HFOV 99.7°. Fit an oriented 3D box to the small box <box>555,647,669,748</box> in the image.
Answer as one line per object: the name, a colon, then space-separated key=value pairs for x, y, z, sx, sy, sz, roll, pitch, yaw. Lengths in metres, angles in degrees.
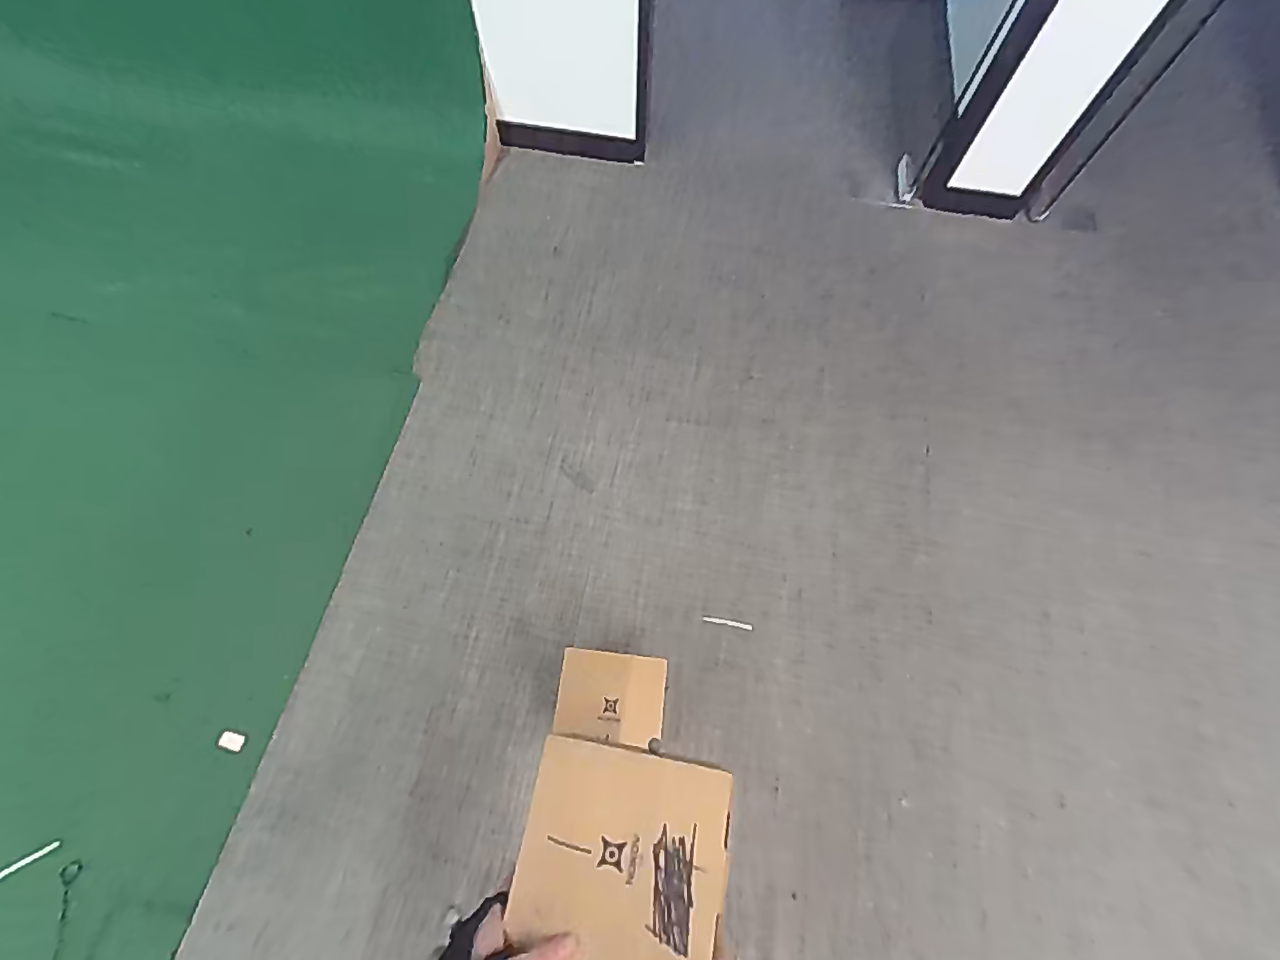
small box: x=-0.046 y=0.387 z=0.902 sx=0.168 sy=0.176 sz=0.179 roll=6 pitch=67 yaw=2

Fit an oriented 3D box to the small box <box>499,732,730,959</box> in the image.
small box: x=-0.015 y=0.357 z=0.542 sx=0.179 sy=0.176 sz=0.168 roll=9 pitch=65 yaw=6
